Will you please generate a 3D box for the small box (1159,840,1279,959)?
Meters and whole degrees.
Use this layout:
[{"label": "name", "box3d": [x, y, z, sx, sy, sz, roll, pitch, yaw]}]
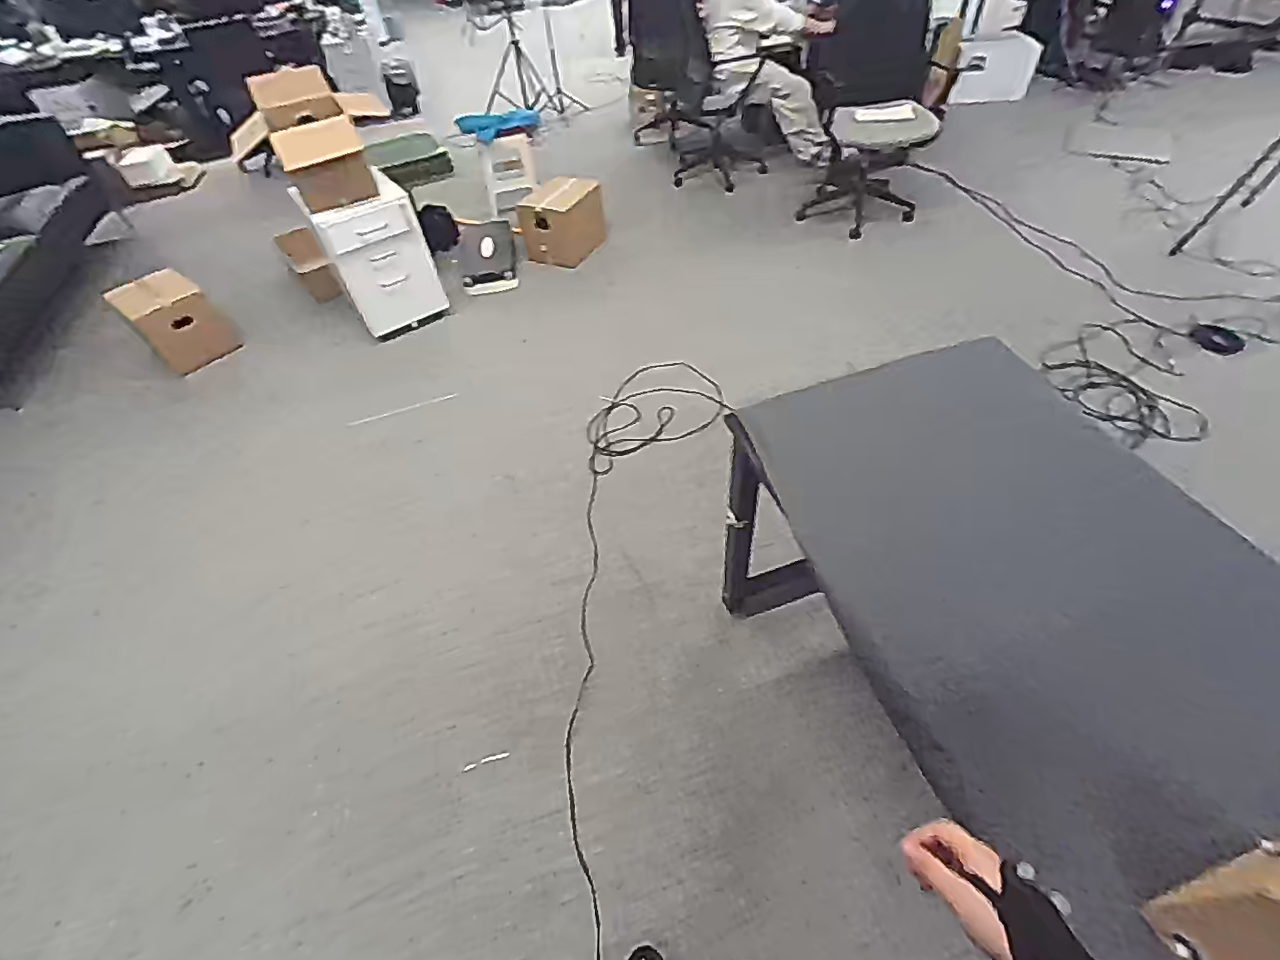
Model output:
[{"label": "small box", "box3d": [0.612, 0.416, 0.459, 0.179, 0.176, 0.168, -14, 47, -11]}]
